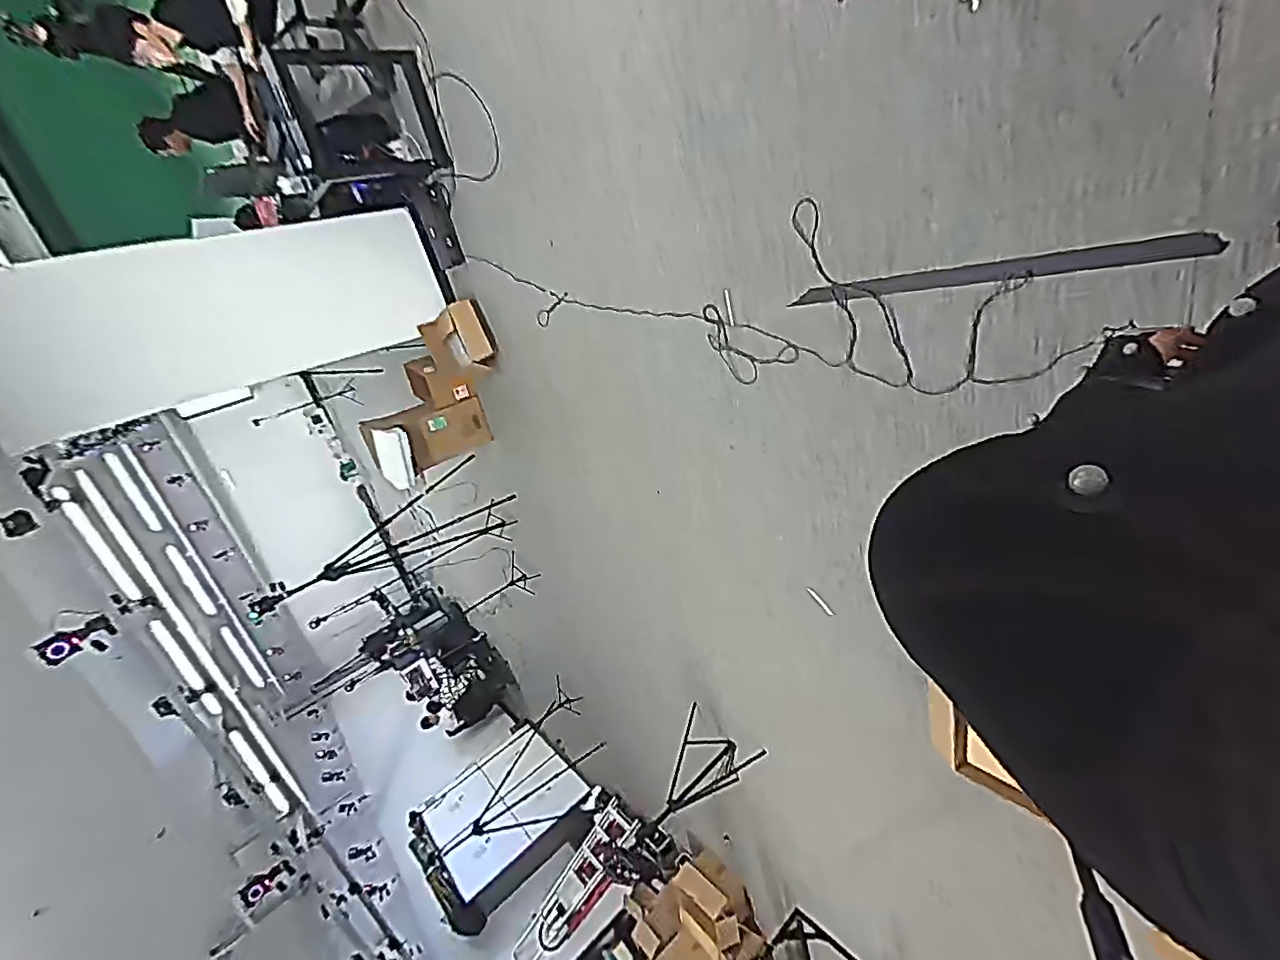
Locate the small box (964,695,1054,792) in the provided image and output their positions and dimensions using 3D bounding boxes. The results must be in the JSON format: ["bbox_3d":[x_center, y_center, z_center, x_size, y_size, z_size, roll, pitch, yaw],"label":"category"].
[{"bbox_3d":[1.114,0.784,1.635,0.179,0.176,0.168,16,125,49],"label":"small box"}]
